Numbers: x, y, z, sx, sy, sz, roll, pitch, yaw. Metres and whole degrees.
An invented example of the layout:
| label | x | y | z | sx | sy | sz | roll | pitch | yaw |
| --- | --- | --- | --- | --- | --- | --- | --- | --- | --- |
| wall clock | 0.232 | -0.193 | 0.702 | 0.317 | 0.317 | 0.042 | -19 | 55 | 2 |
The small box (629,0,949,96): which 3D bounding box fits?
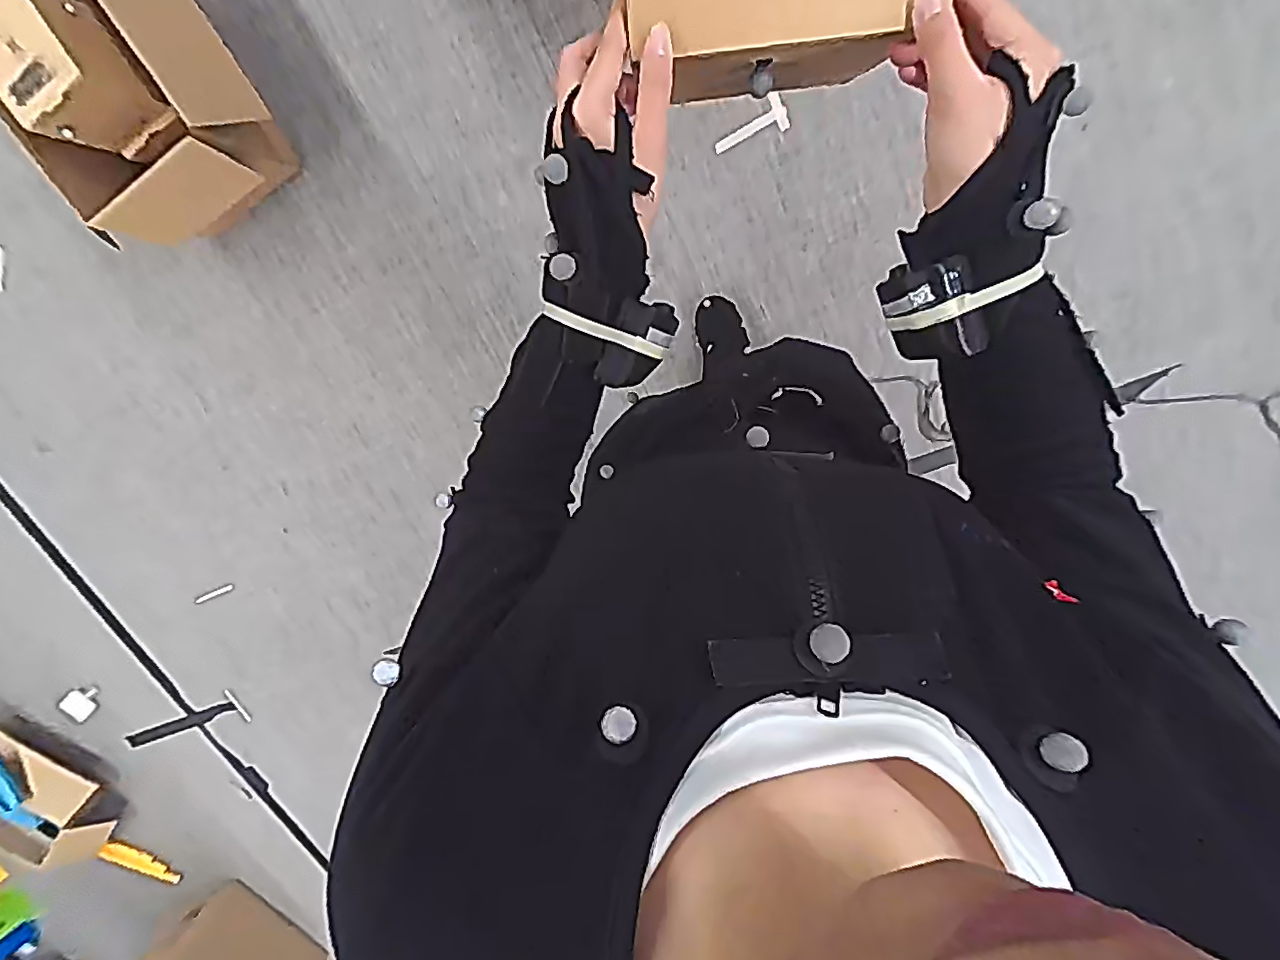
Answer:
| label | x | y | z | sx | sy | sz | roll | pitch | yaw |
| --- | --- | --- | --- | --- | --- | --- | --- | --- | --- |
| small box | 0.077 | -0.357 | 0.335 | 0.179 | 0.176 | 0.168 | -4 | 117 | 4 |
